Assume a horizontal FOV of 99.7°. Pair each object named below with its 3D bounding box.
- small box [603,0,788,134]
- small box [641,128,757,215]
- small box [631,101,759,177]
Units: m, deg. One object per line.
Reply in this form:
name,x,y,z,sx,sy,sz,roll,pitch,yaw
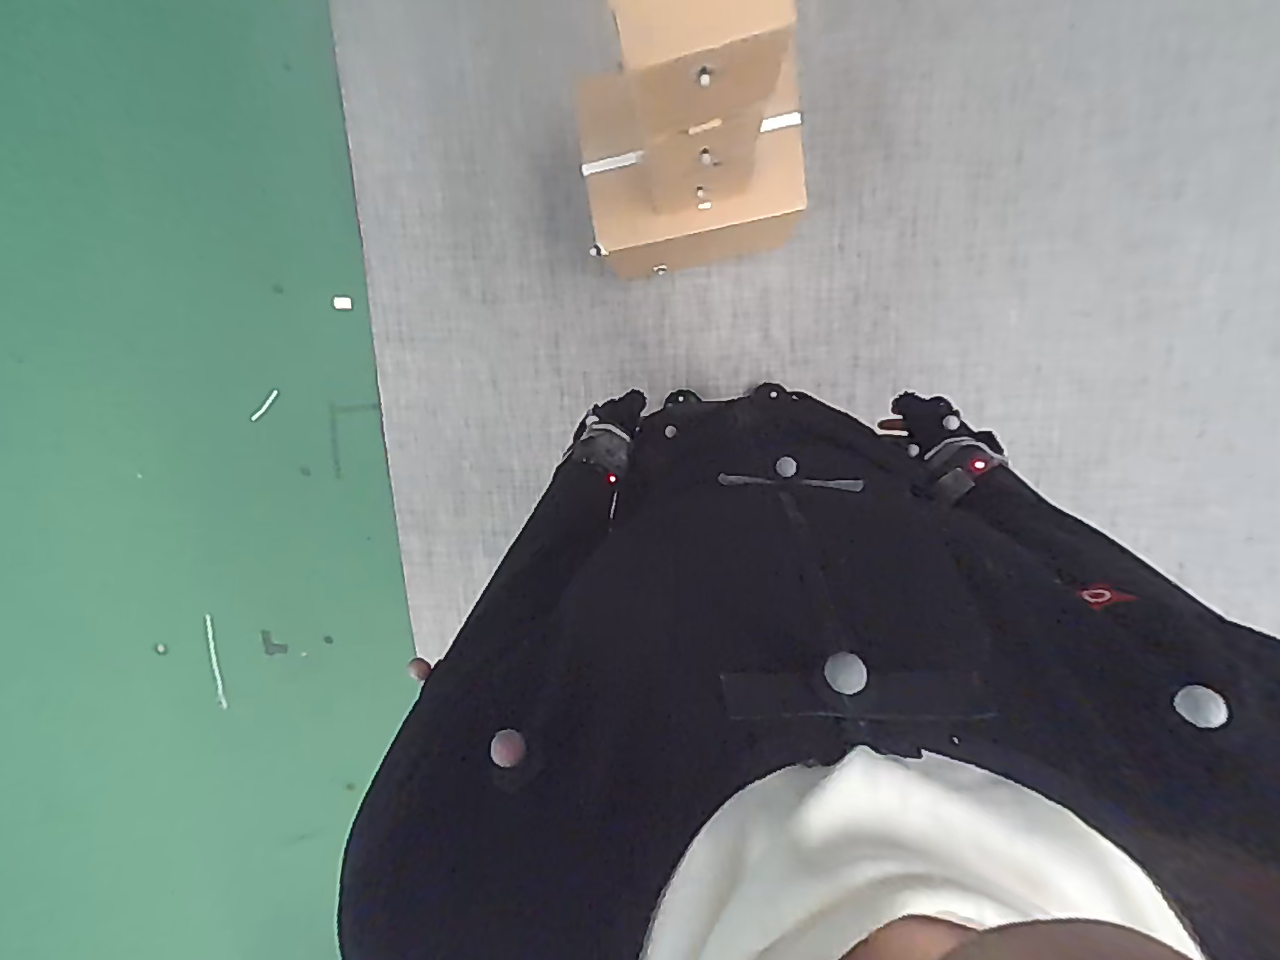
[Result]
small box,0.053,-0.521,0.602,0.179,0.176,0.168,-11,101,7
small box,0.087,-0.579,0.921,0.179,0.176,0.168,-14,99,7
small box,0.065,-0.553,0.761,0.168,0.176,0.179,-12,100,8
